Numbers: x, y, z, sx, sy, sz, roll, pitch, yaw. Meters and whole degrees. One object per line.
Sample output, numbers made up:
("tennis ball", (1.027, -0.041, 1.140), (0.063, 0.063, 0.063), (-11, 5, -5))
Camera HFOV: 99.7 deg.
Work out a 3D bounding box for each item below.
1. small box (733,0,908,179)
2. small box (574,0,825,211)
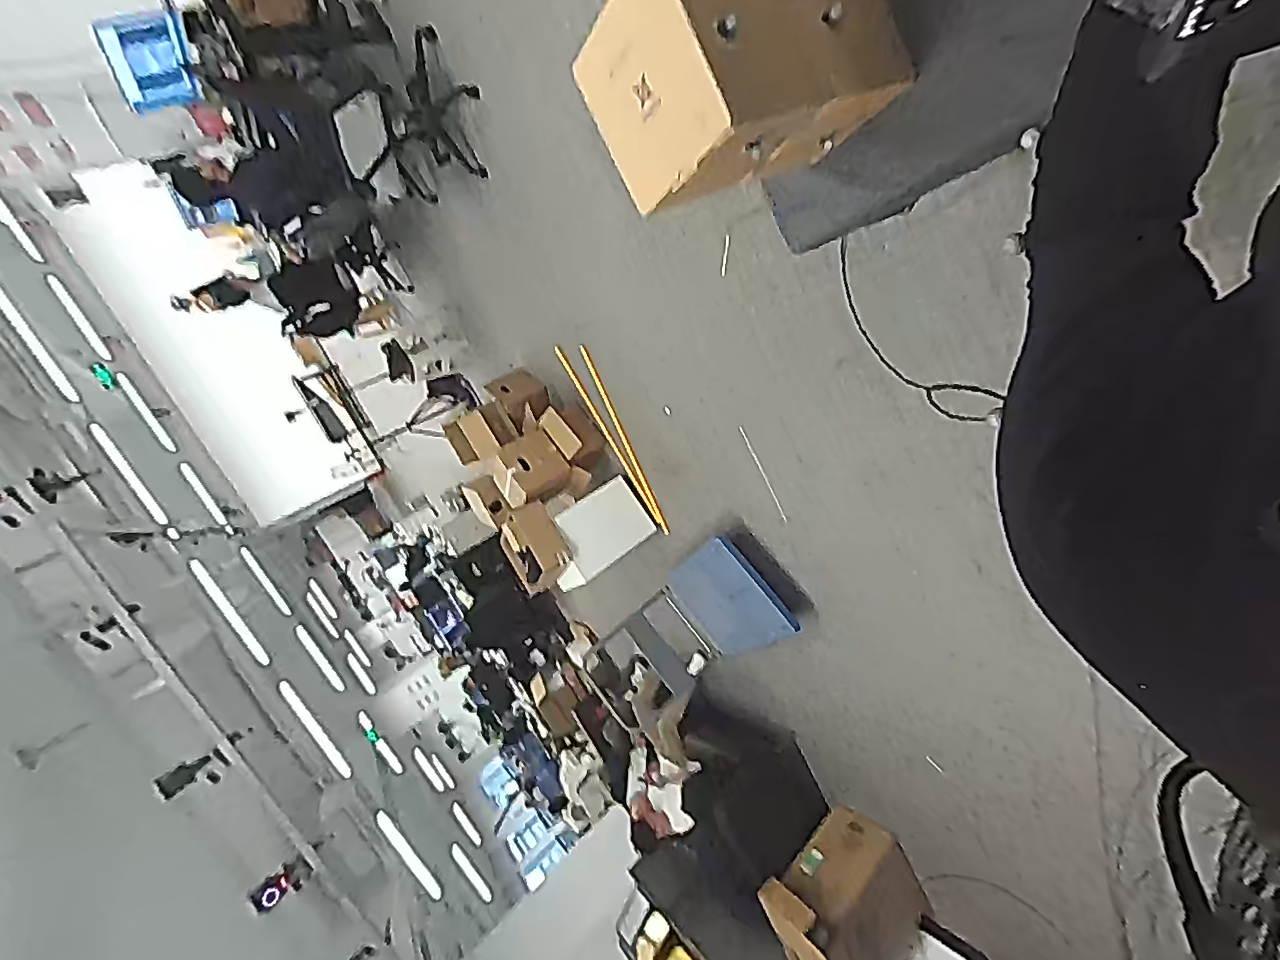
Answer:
("small box", (0.186, -0.509, 0.657), (0.168, 0.176, 0.179), (-12, 109, 60))
("small box", (0.066, -0.430, 0.580), (0.168, 0.176, 0.179), (-9, 111, 59))
